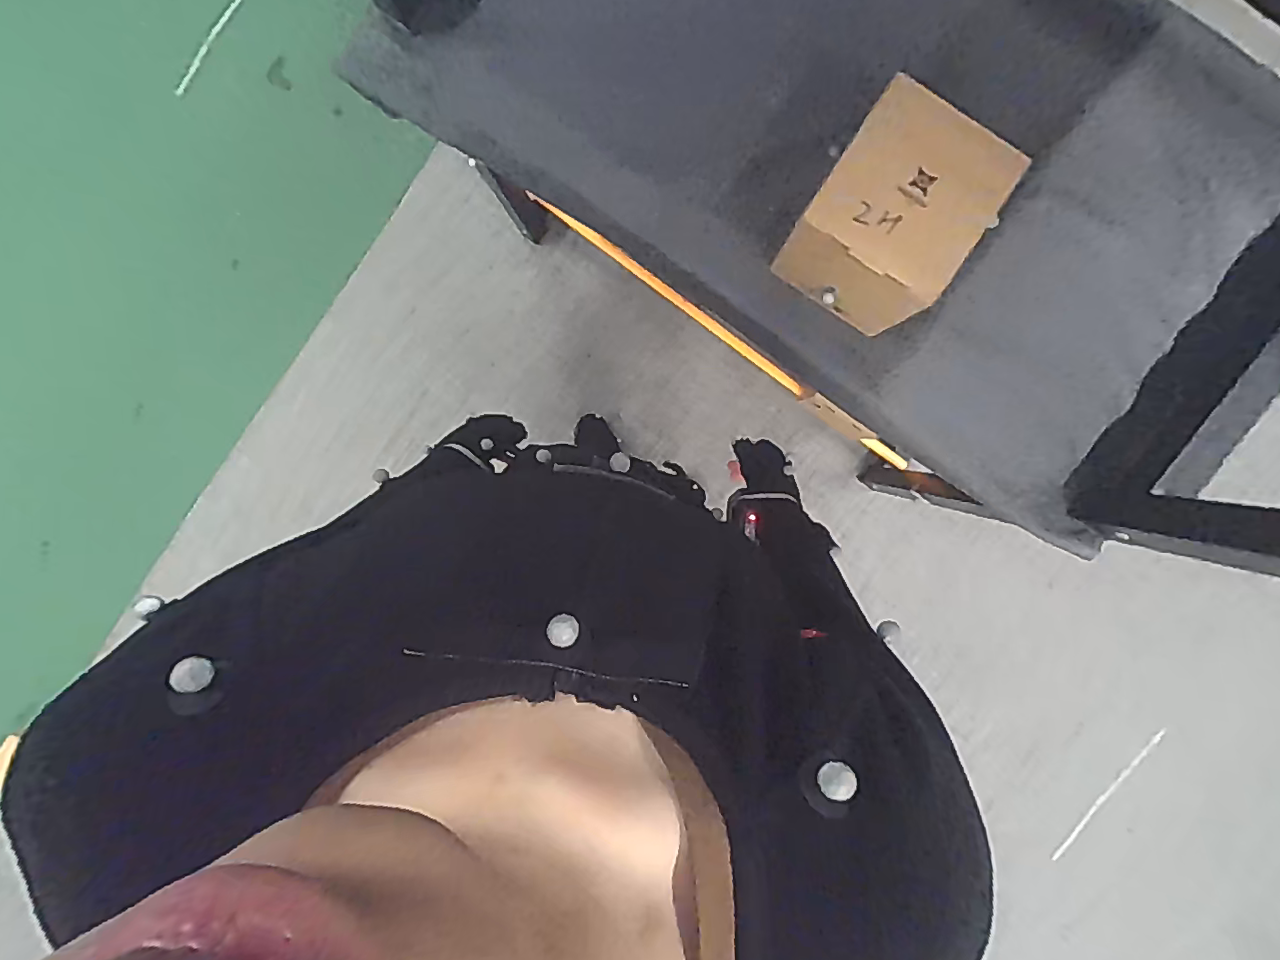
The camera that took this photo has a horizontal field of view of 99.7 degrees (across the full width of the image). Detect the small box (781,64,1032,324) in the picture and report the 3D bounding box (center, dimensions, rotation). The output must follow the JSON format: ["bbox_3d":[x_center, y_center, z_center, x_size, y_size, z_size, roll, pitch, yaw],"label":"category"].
[{"bbox_3d":[0.290,-0.314,0.636,0.168,0.176,0.179,34,94,0],"label":"small box"}]
